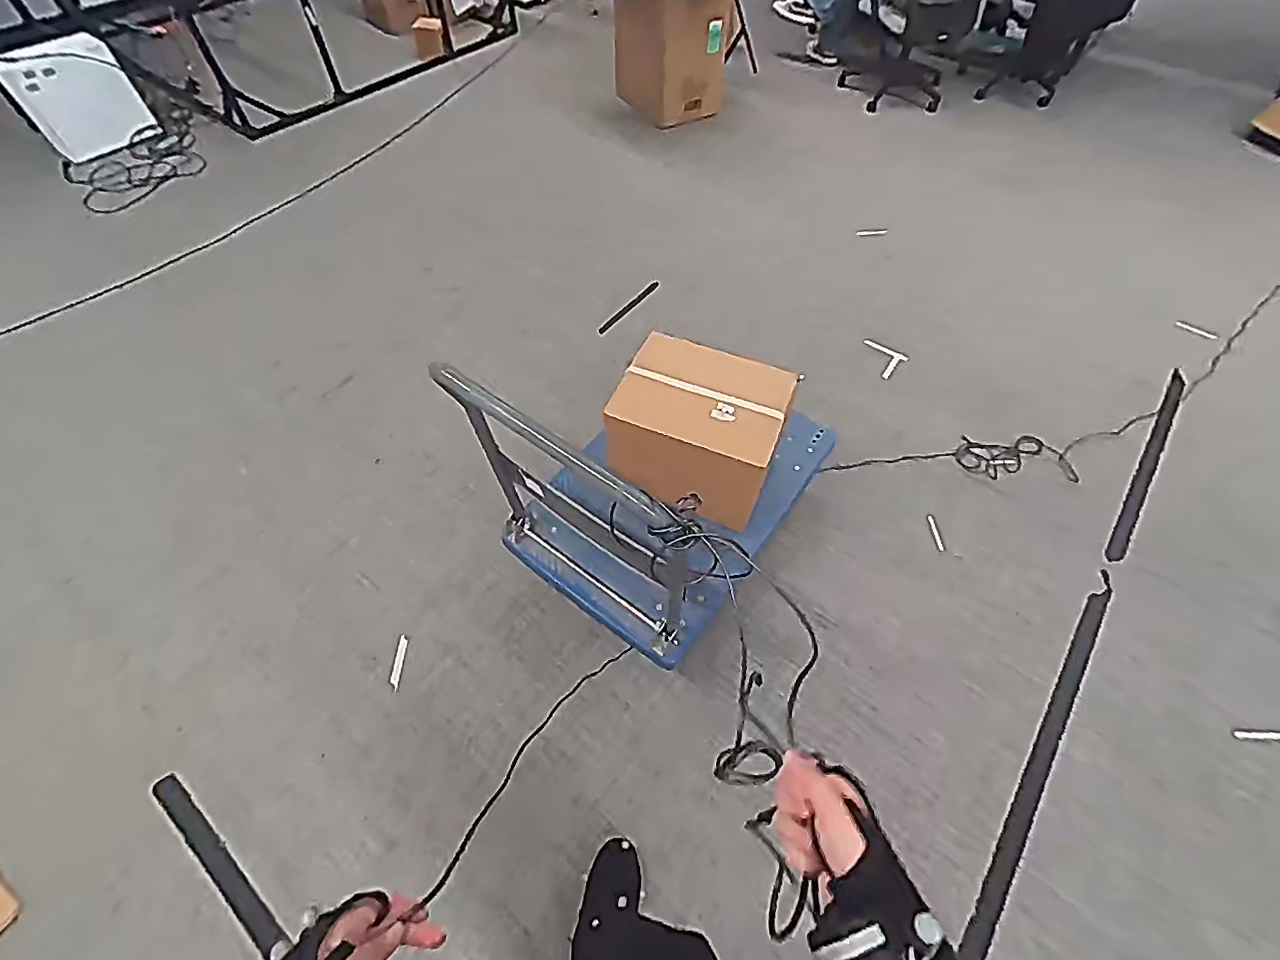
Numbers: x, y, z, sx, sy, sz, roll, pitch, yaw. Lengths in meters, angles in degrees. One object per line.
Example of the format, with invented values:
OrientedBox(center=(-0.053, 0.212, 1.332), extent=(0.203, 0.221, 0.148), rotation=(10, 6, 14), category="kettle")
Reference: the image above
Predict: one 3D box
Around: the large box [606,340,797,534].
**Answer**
OrientedBox(center=(0.150, -0.112, 1.441), extent=(0.408, 0.320, 0.320), rotation=(20, 59, 11), category="large box")
